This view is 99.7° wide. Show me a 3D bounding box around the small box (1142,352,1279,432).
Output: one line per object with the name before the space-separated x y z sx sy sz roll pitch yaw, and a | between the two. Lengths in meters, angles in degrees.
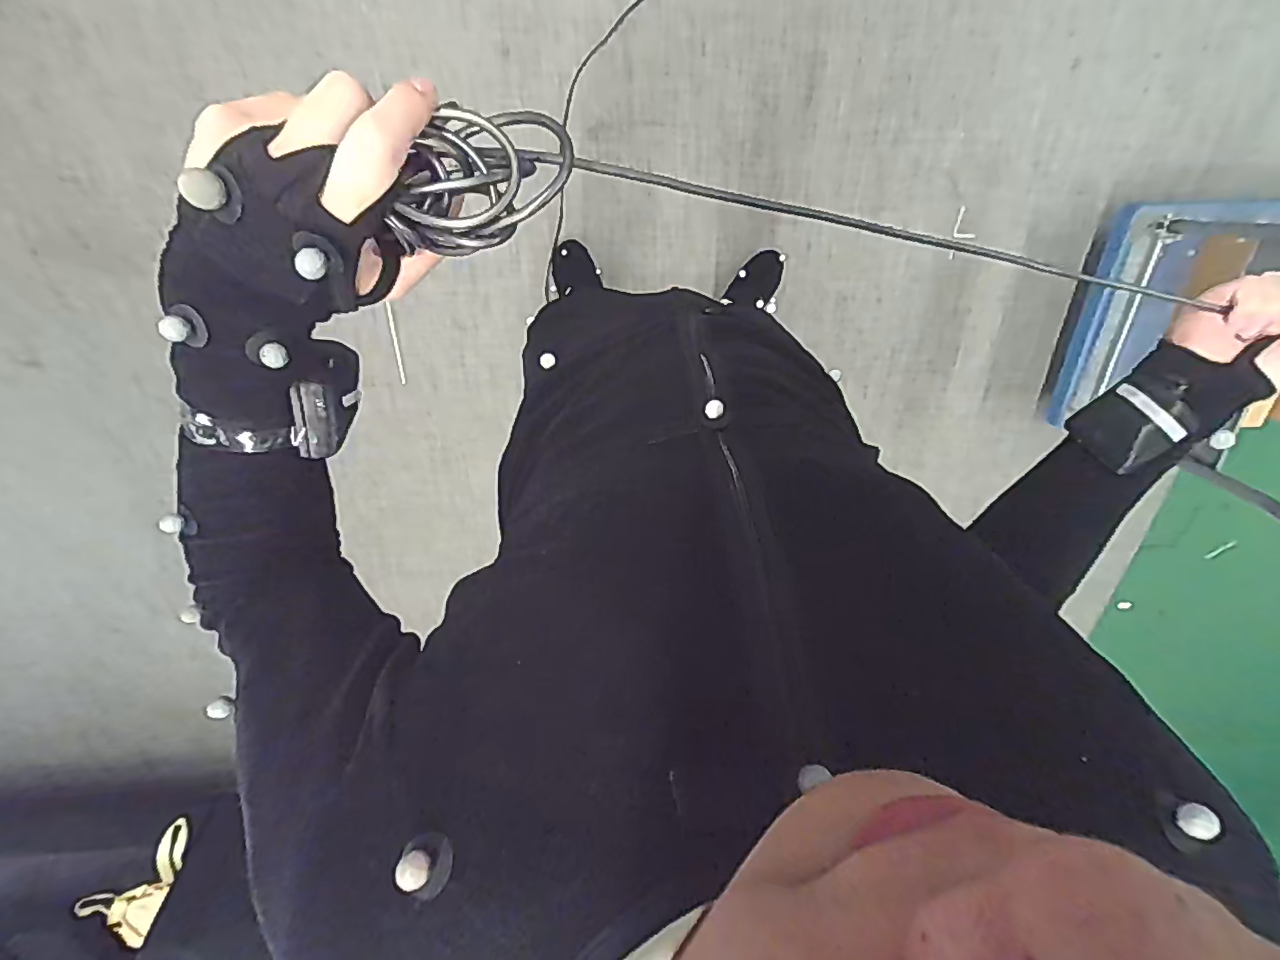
small box | 1.486 -0.232 1.404 0.179 0.176 0.168 0 117 -2

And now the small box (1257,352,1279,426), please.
small box | 1.756 -0.238 1.415 0.179 0.176 0.168 -4 116 0
